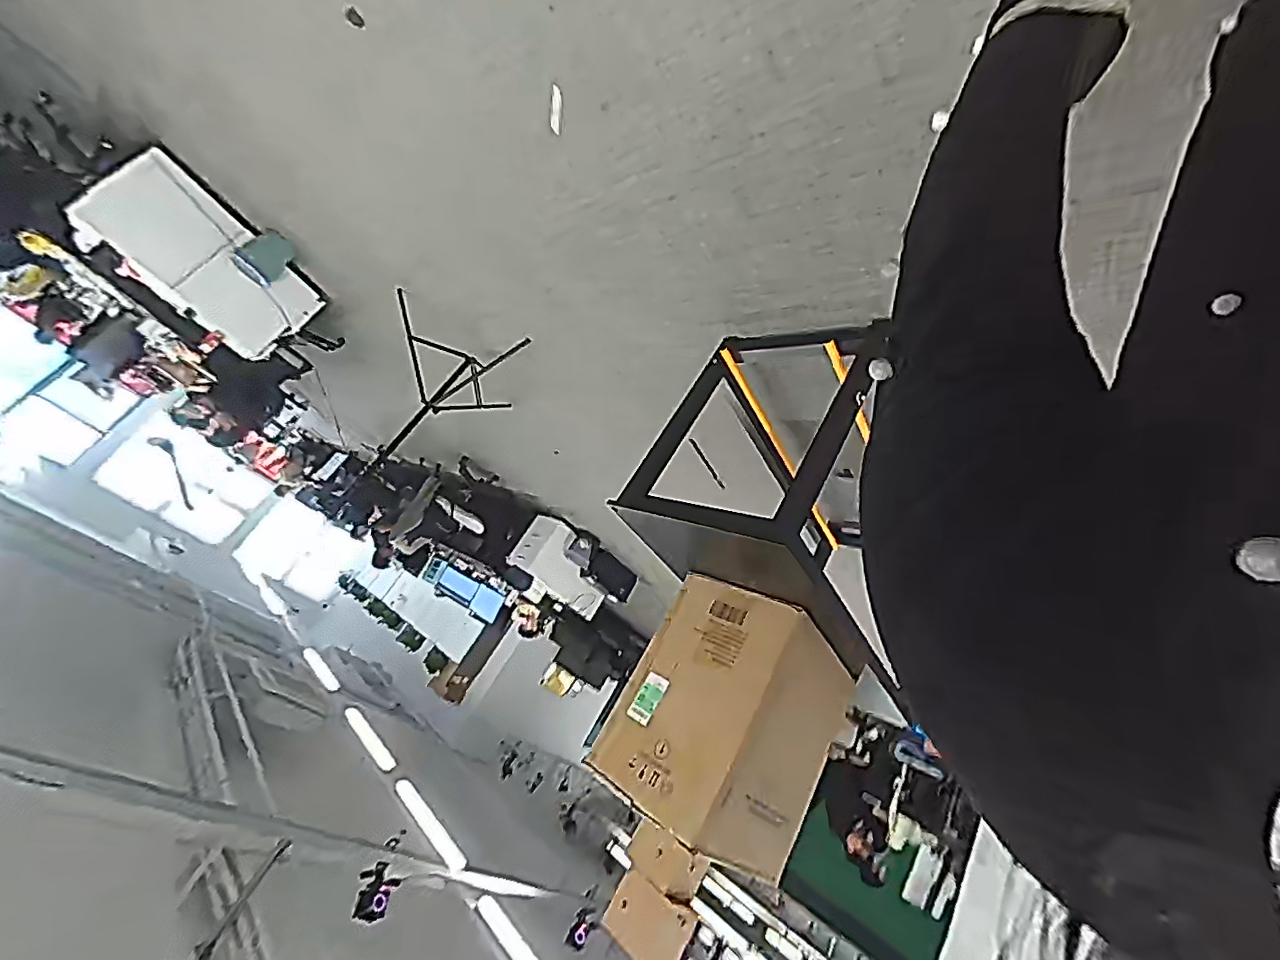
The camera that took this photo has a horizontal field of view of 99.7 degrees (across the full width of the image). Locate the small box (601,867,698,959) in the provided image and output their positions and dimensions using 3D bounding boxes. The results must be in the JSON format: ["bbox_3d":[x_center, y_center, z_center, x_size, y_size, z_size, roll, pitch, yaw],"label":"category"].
[{"bbox_3d":[0.030,1.234,1.532,0.179,0.176,0.168,9,149,49],"label":"small box"}]

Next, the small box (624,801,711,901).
[{"bbox_3d":[0.091,1.100,1.611,0.179,0.176,0.168,11,149,46],"label":"small box"}]
